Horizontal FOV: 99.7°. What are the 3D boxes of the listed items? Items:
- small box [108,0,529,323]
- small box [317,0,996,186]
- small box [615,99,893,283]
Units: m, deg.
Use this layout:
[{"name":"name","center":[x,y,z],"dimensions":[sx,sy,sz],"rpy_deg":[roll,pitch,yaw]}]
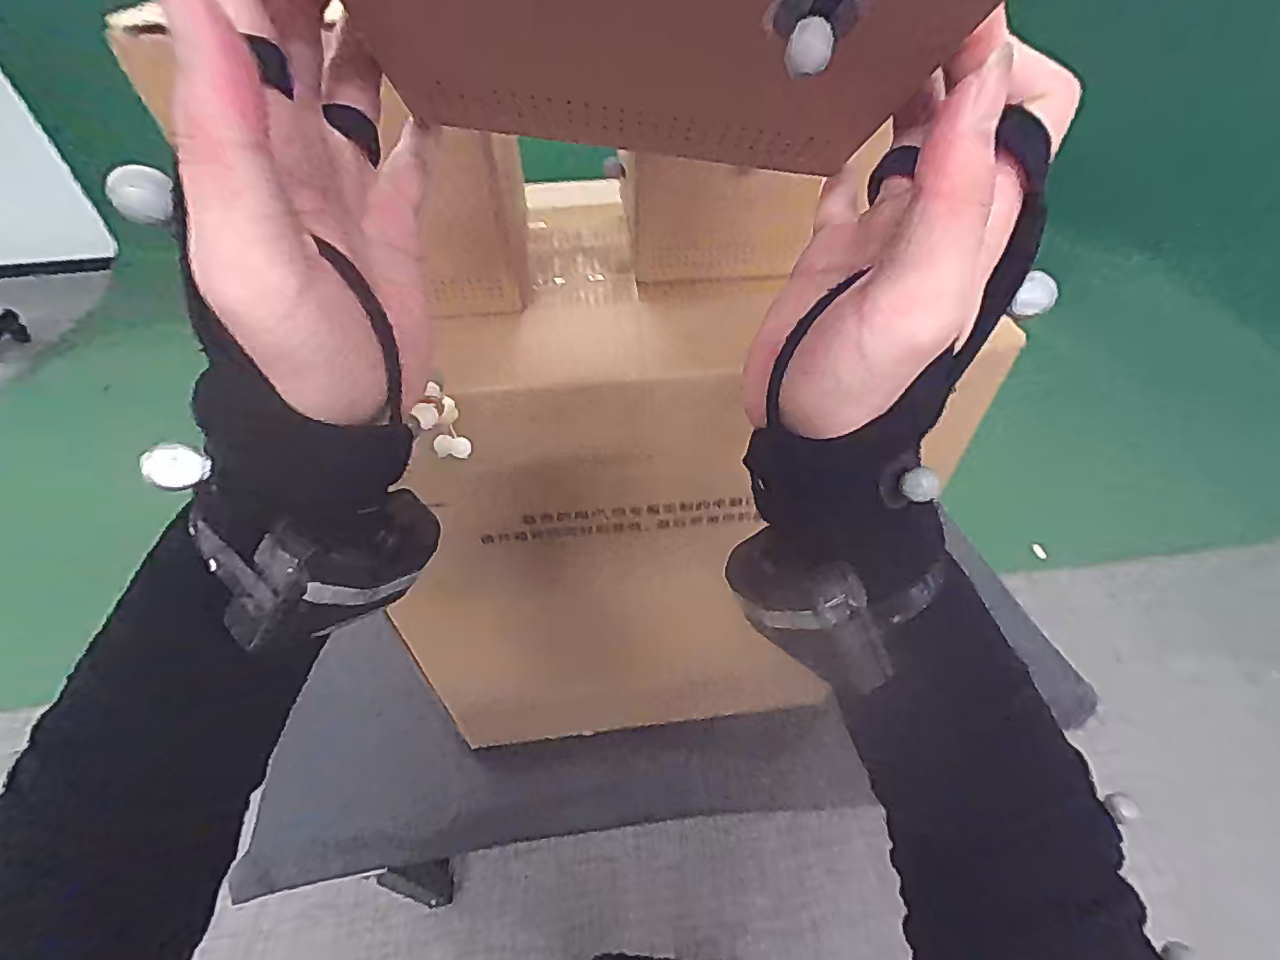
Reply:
[{"name":"small box","center":[-0.183,-0.227,0.380],"dimensions":[0.179,0.176,0.168],"rpy_deg":[-6,51,-4]},{"name":"small box","center":[0.006,-0.198,0.136],"dimensions":[0.179,0.168,0.176],"rpy_deg":[5,6,-3]},{"name":"small box","center":[0.070,-0.270,0.412],"dimensions":[0.179,0.176,0.168],"rpy_deg":[-5,51,-3]}]
